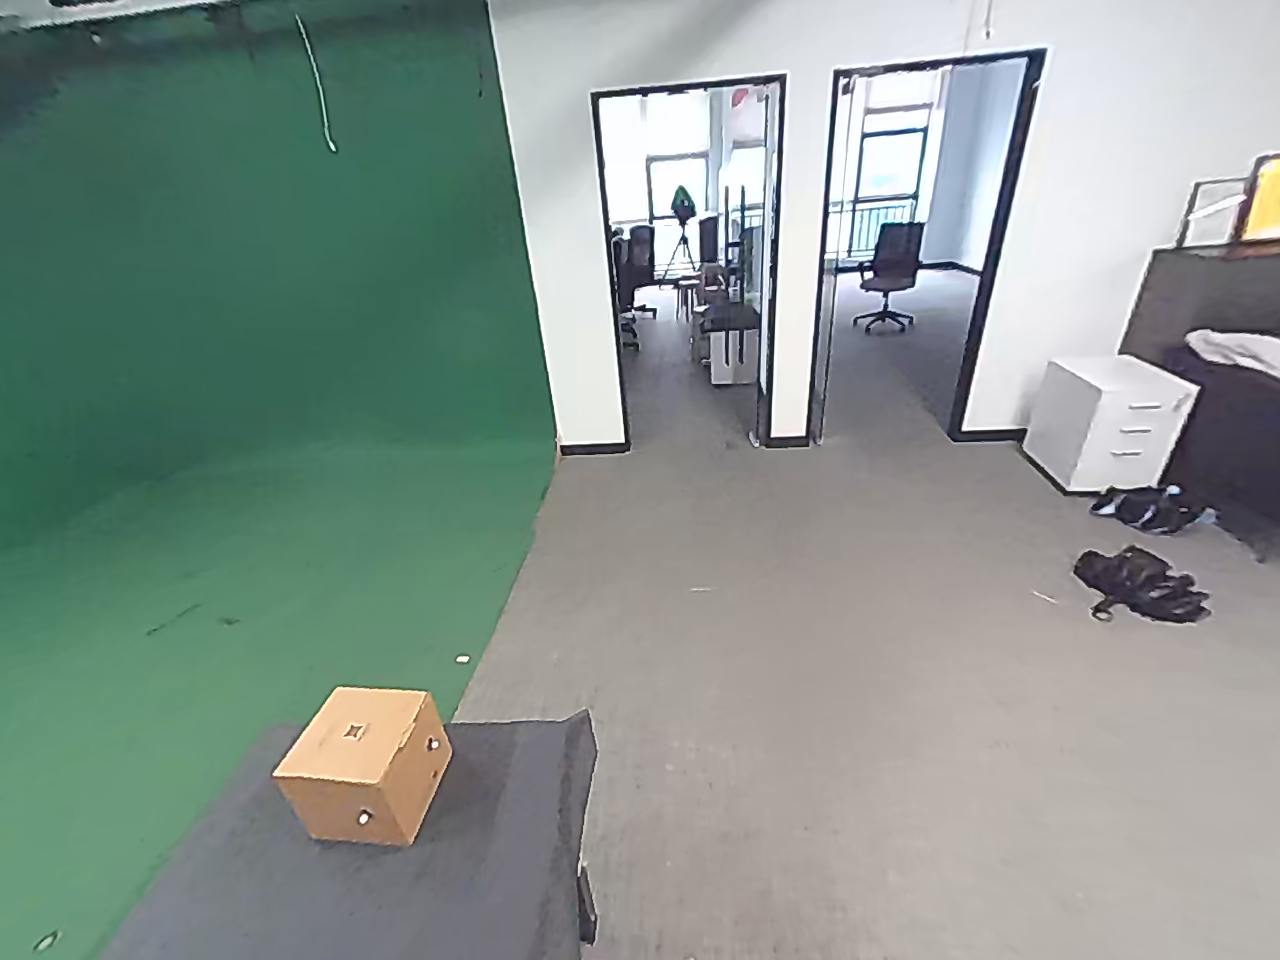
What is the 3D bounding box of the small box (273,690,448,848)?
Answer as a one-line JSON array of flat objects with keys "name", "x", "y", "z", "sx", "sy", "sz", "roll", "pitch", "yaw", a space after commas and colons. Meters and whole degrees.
[{"name": "small box", "x": -0.443, "y": 0.474, "z": 0.893, "sx": 0.179, "sy": 0.176, "sz": 0.168, "roll": -2, "pitch": 27, "yaw": 8}]
